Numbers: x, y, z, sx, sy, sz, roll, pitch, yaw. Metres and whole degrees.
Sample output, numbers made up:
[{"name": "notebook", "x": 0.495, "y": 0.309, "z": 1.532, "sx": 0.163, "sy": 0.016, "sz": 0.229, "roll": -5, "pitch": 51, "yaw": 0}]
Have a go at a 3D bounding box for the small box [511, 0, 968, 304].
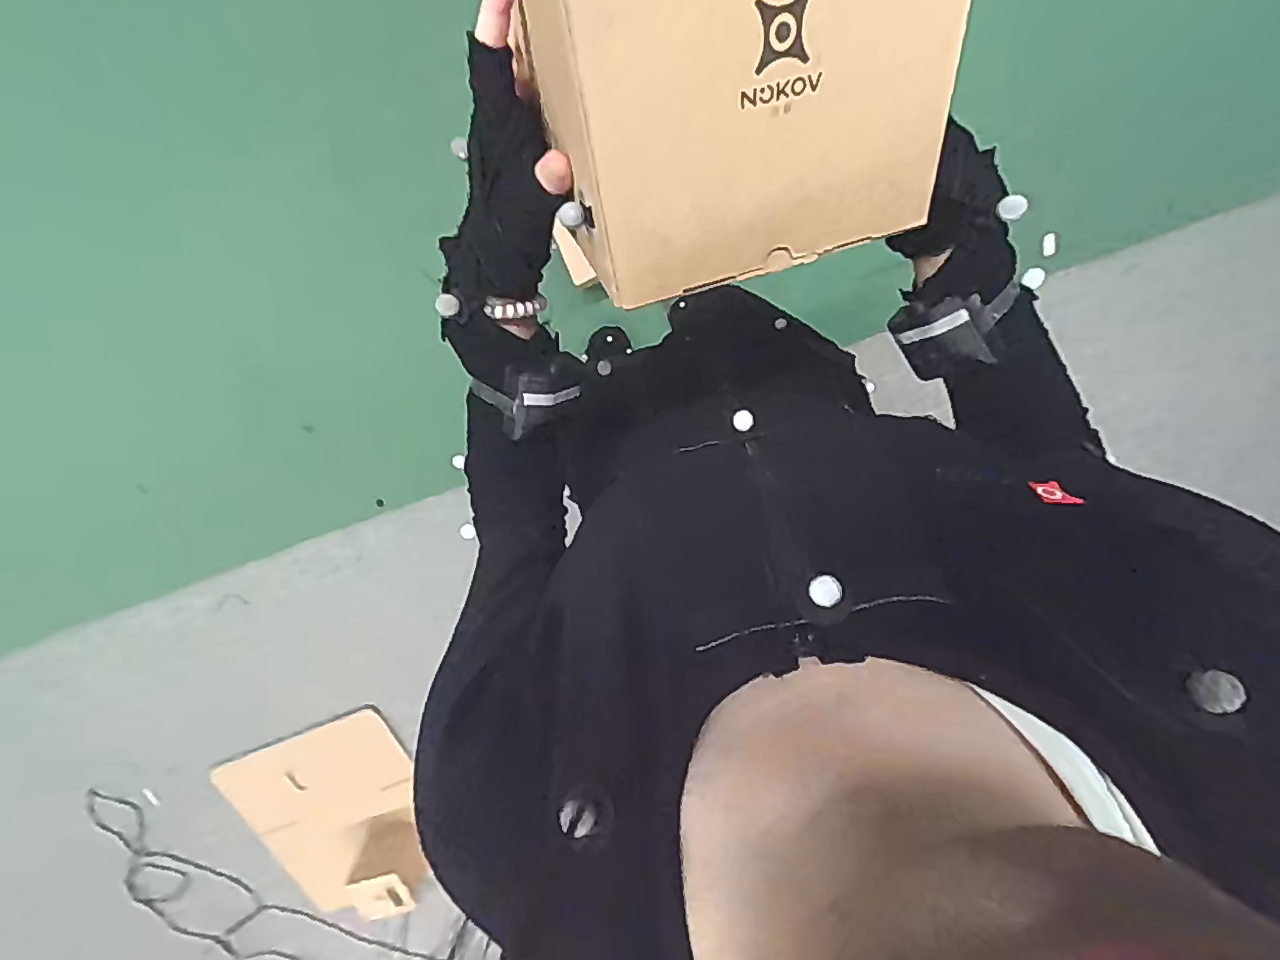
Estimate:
[{"name": "small box", "x": 0.033, "y": -0.221, "z": 0.271, "sx": 0.168, "sy": 0.176, "sz": 0.179, "roll": -19, "pitch": 134, "yaw": -6}]
